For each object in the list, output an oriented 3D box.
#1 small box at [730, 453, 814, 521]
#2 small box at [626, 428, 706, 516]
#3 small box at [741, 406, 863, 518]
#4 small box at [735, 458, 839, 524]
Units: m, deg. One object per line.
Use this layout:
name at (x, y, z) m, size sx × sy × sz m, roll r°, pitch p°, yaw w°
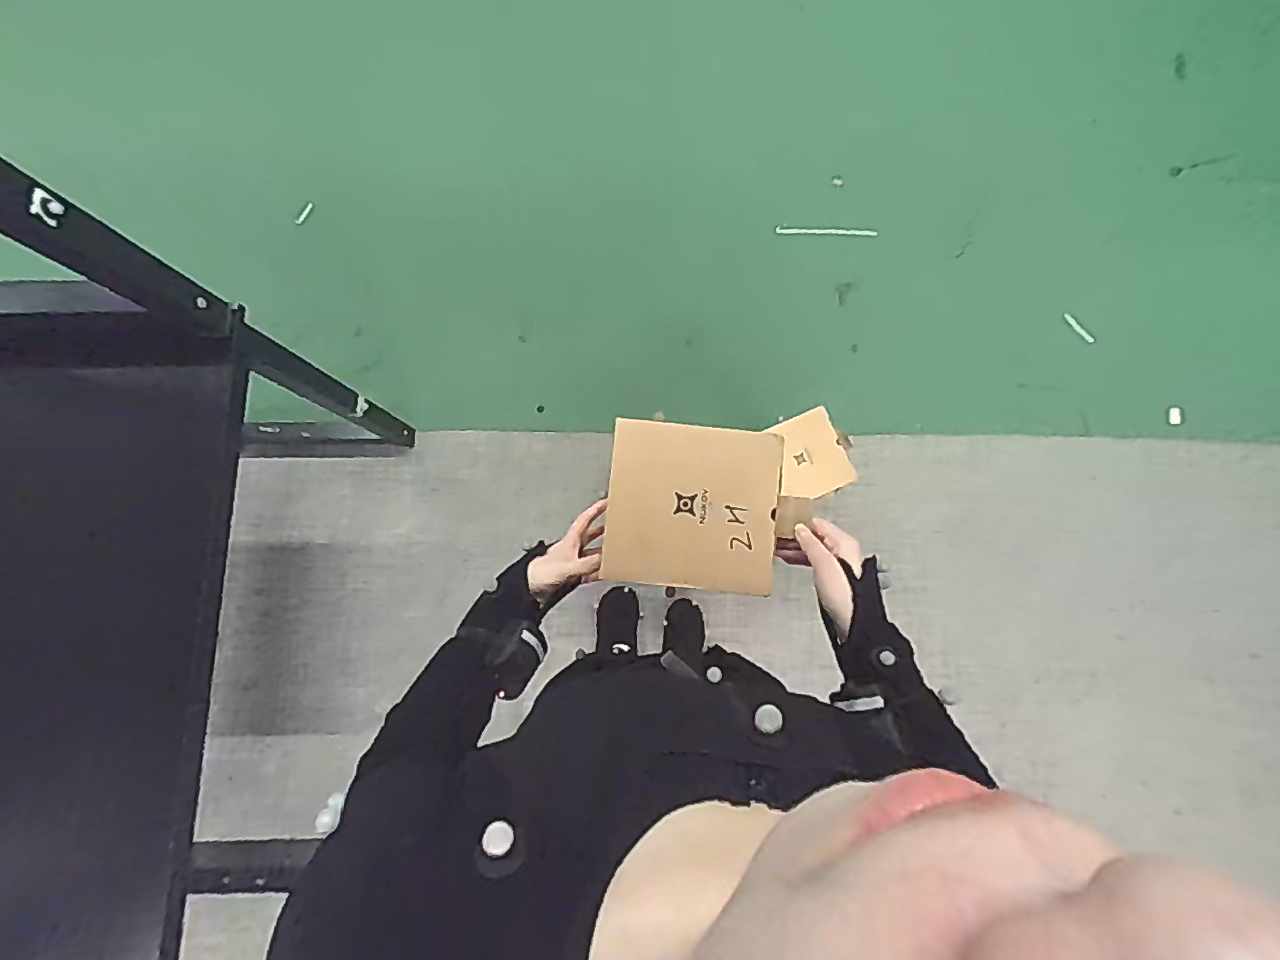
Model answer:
small box at (0.345, 0.016, 1.454) m, size 0.179 × 0.176 × 0.168 m, roll -6°, pitch 82°, yaw -2°
small box at (0.061, -0.013, 1.290) m, size 0.168 × 0.176 × 0.179 m, roll 7°, pitch 81°, yaw 1°
small box at (0.324, -0.028, 1.132) m, size 0.179 × 0.176 × 0.168 m, roll -24°, pitch 83°, yaw -4°
small box at (0.339, 0.001, 1.292) m, size 0.179 × 0.176 × 0.168 m, roll -19°, pitch 84°, yaw -4°
